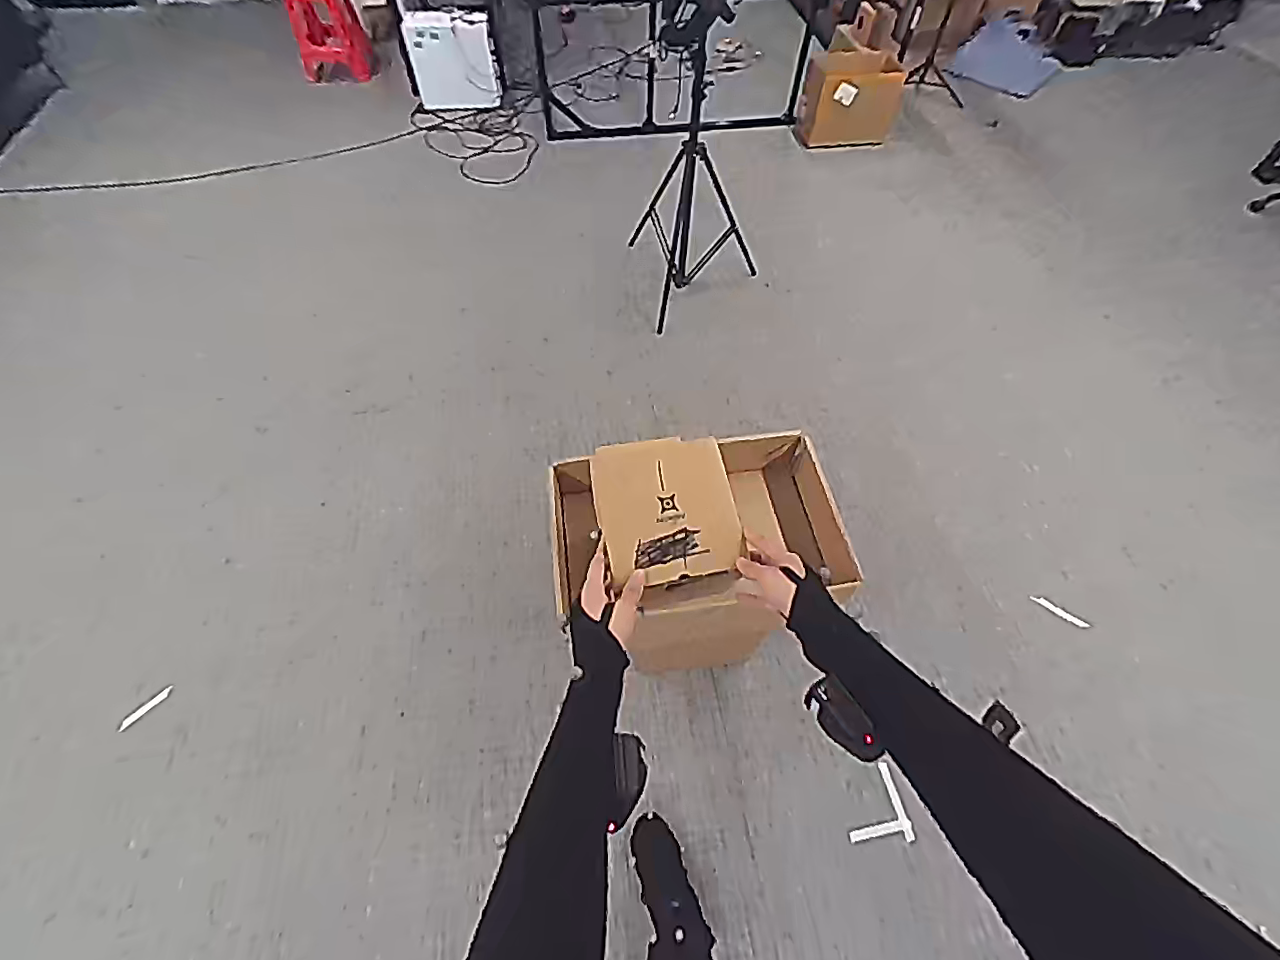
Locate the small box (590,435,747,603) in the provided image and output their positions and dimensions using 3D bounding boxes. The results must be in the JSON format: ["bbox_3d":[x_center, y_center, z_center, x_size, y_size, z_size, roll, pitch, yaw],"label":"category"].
[{"bbox_3d":[0.030,0.063,0.734,0.168,0.176,0.179,-10,69,-7],"label":"small box"}]
